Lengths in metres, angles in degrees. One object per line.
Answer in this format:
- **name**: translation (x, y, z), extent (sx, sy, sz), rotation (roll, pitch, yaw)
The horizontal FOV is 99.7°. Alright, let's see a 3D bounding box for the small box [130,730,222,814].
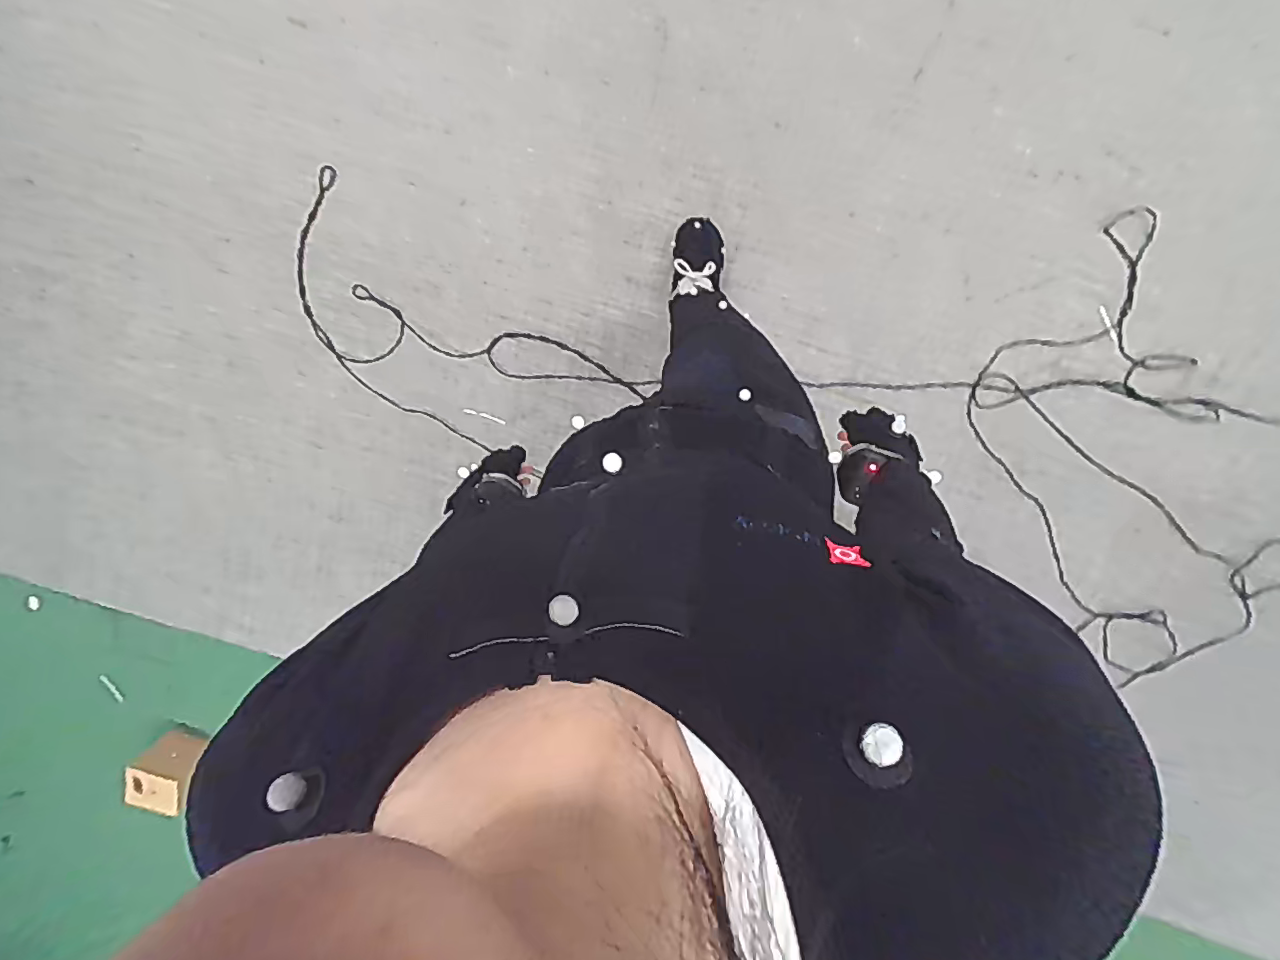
- **small box**: translation (-1.594, 0.998, 1.861), extent (0.179, 0.176, 0.168), rotation (18, 109, -2)
